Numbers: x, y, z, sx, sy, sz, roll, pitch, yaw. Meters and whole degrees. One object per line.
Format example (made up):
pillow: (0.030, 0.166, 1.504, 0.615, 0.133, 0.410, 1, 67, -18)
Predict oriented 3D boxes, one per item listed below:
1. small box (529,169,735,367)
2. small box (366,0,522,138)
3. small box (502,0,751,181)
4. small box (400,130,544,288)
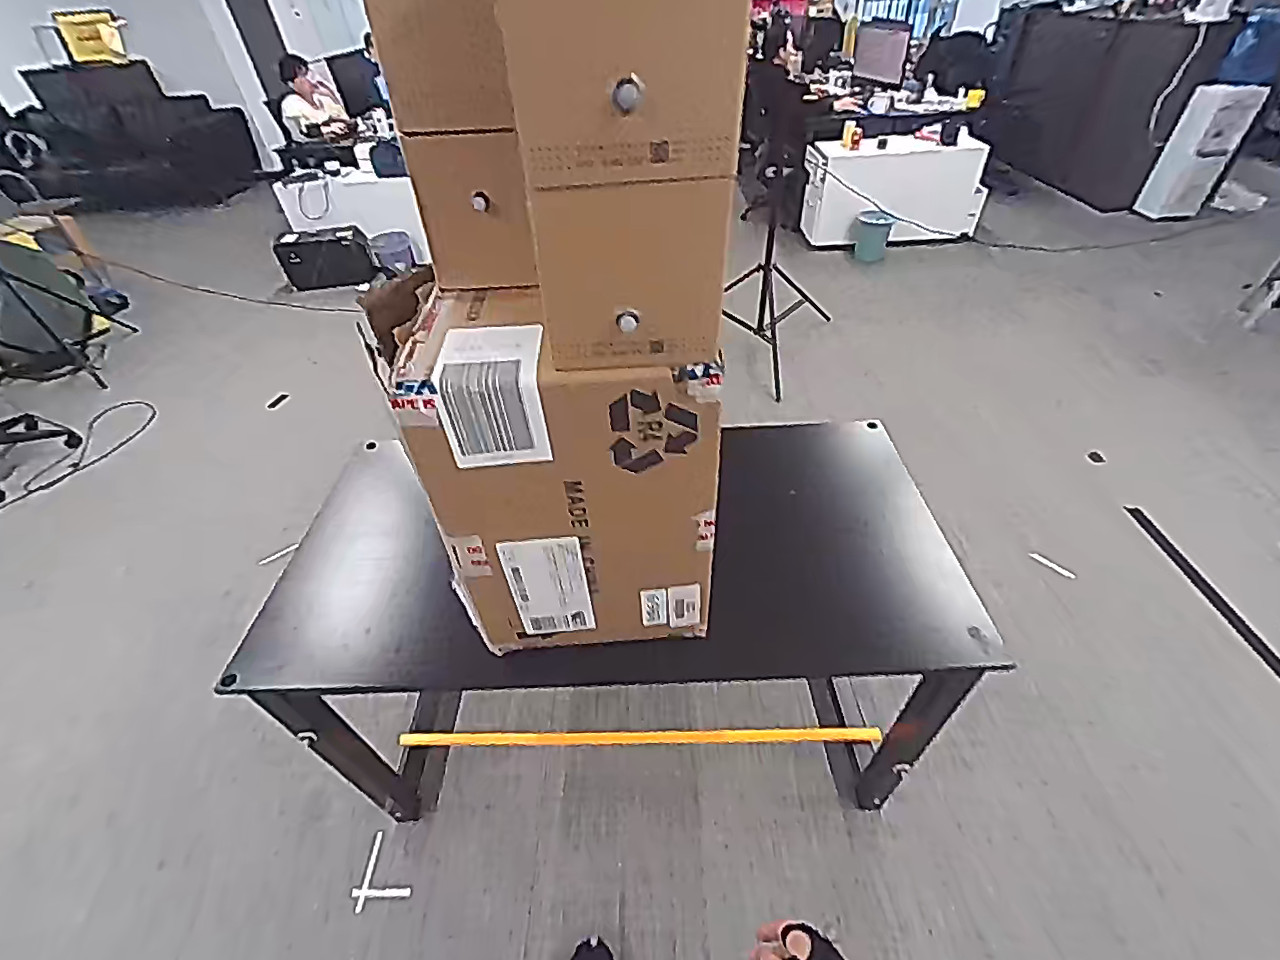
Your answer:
small box: (-0.009, -0.230, 0.538, 0.168, 0.176, 0.179, -4, 44, -2)
small box: (-0.169, -0.472, 0.566, 0.179, 0.176, 0.168, -6, 40, -4)
small box: (-0.017, -0.348, 0.423, 0.168, 0.176, 0.179, -6, 44, -3)
small box: (-0.166, -0.351, 0.676, 0.179, 0.176, 0.168, -4, 41, -2)
